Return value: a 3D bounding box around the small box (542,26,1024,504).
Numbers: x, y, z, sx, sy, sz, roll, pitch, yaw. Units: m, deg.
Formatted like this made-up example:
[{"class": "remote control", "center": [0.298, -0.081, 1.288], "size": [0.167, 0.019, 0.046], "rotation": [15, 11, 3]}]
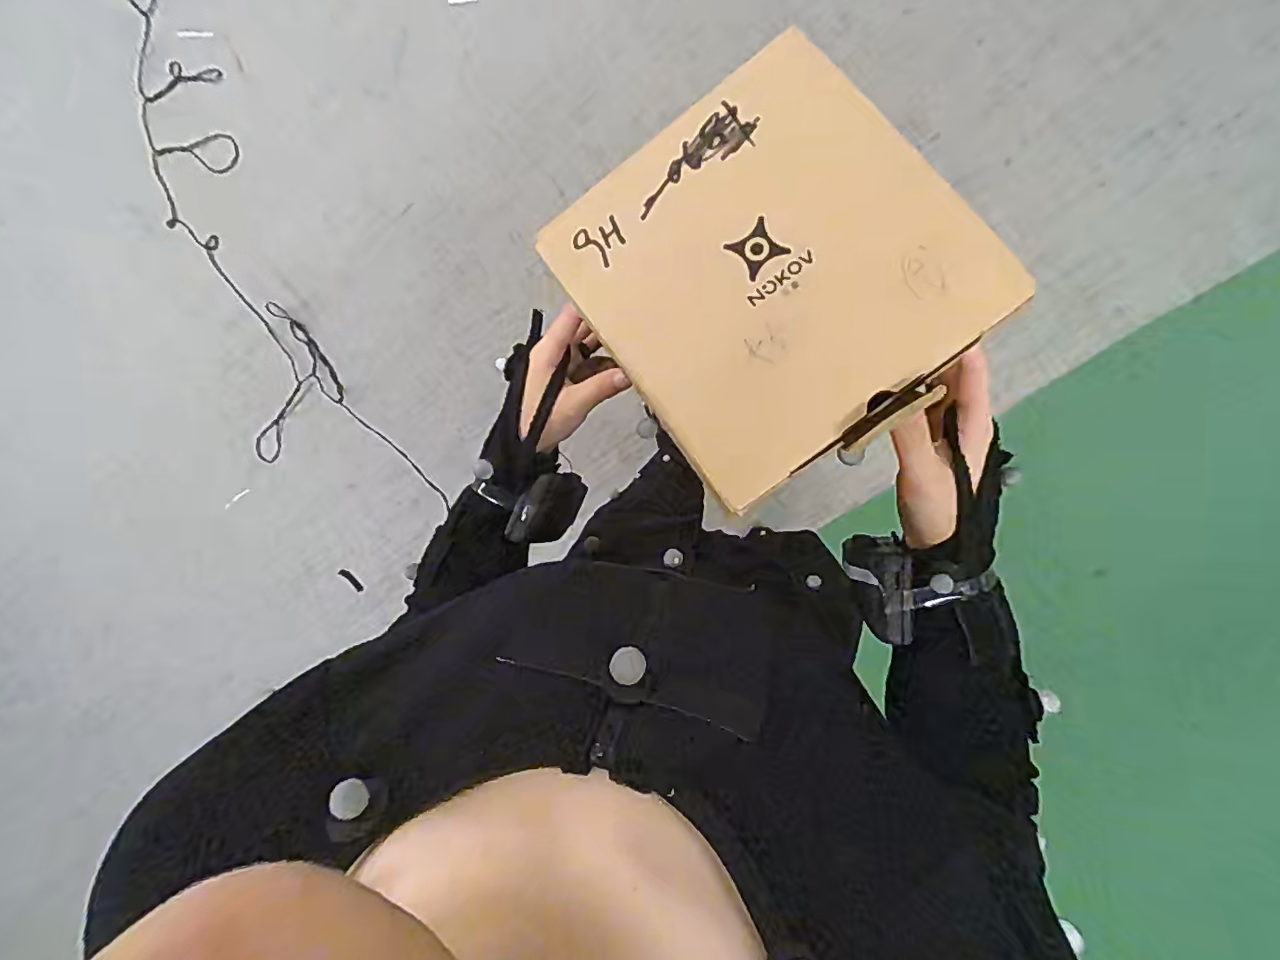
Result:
[{"class": "small box", "center": [0.074, -0.102, 0.338], "size": [0.168, 0.176, 0.179], "rotation": [-35, 83, 5]}]
